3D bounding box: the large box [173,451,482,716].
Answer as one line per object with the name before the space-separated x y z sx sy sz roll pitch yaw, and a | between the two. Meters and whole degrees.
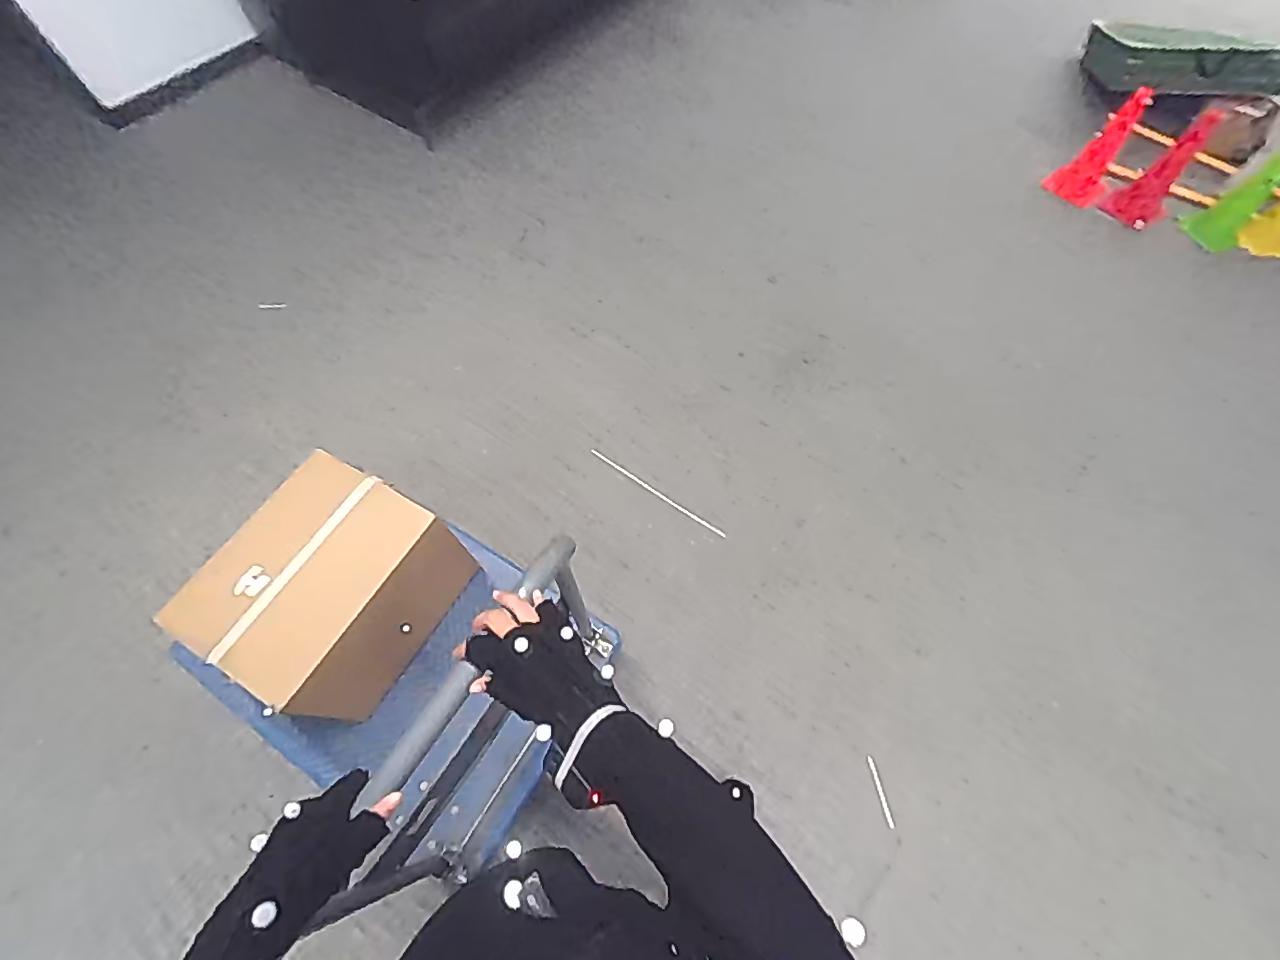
large box | -0.602 0.222 1.132 0.320 0.320 0.408 27 67 14
